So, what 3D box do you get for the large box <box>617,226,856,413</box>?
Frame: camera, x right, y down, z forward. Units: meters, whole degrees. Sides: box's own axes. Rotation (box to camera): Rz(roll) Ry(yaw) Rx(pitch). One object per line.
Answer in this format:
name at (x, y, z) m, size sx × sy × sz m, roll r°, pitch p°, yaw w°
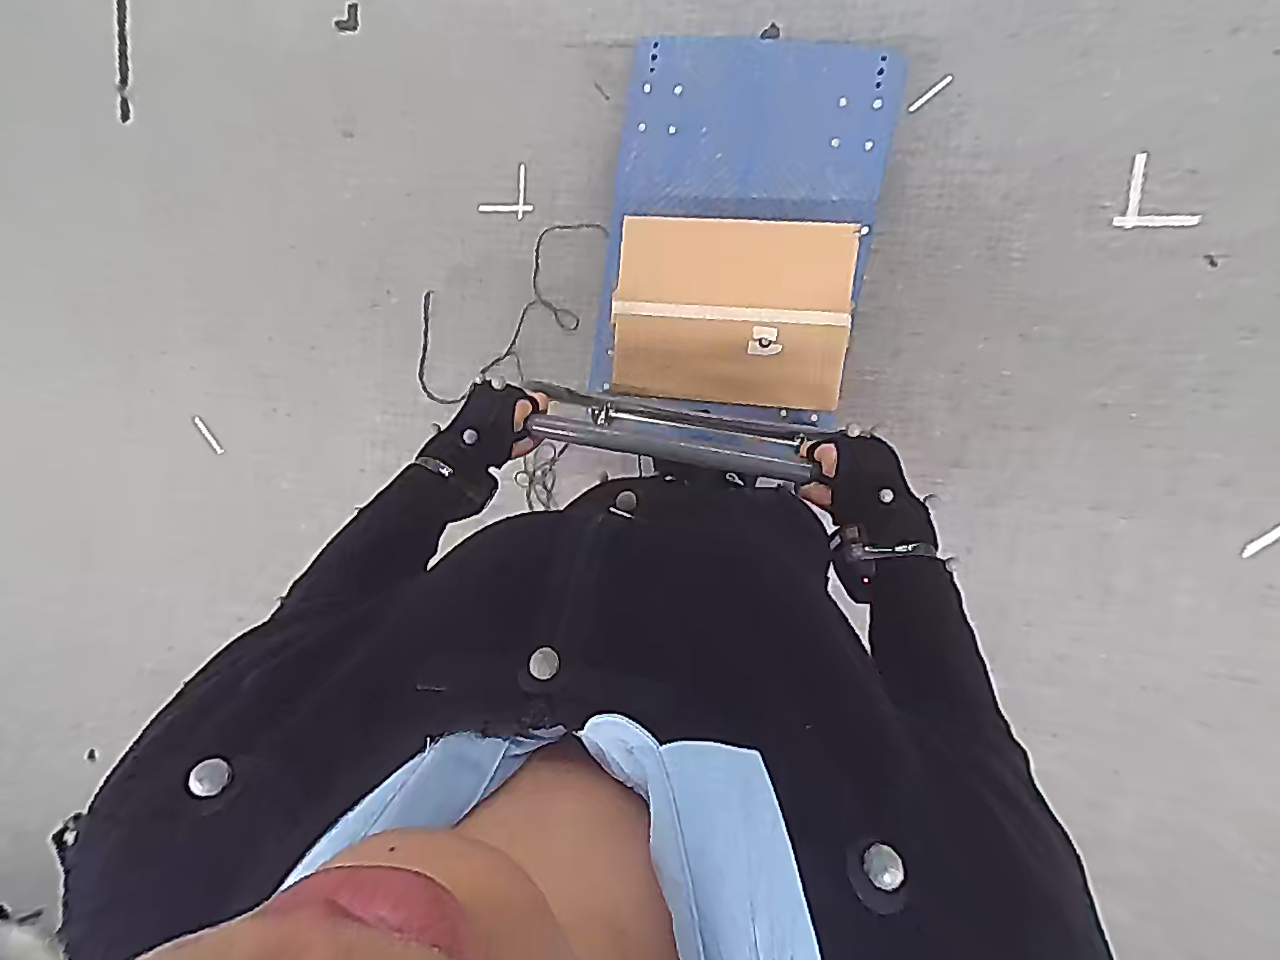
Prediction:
large box at (0.179, -0.304, 1.104) m, size 0.408 × 0.320 × 0.320 m, roll 5°, pitch 99°, yaw 7°
